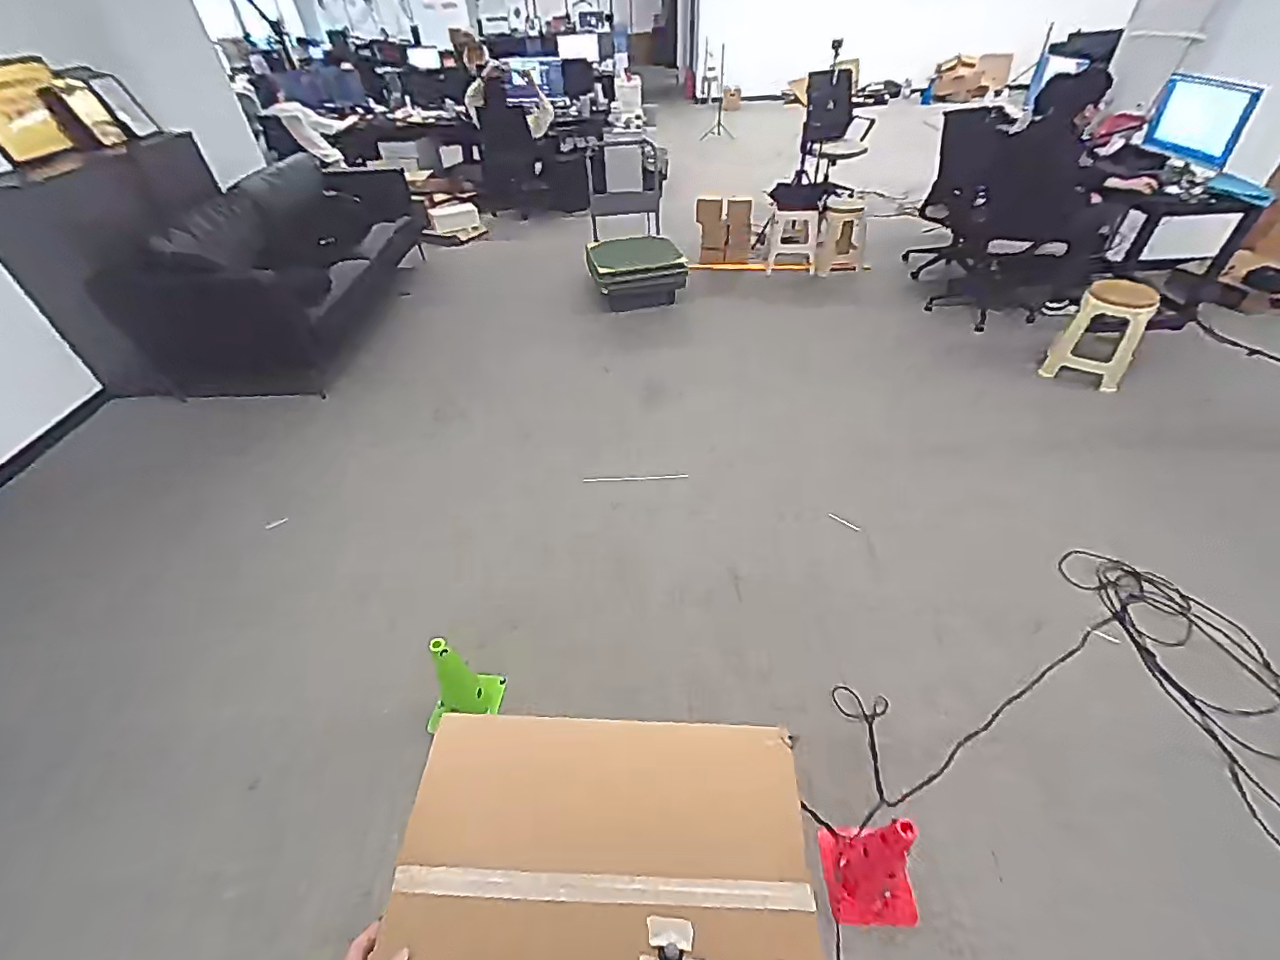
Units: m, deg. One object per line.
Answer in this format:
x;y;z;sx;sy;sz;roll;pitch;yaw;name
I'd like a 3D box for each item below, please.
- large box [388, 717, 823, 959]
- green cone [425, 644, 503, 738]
-0.032;0.496;0.638;0.408;0.320;0.320;2;48;1;large box
-0.553;0.584;1.574;0.200;0.368;0.202;2;44;6;green cone
